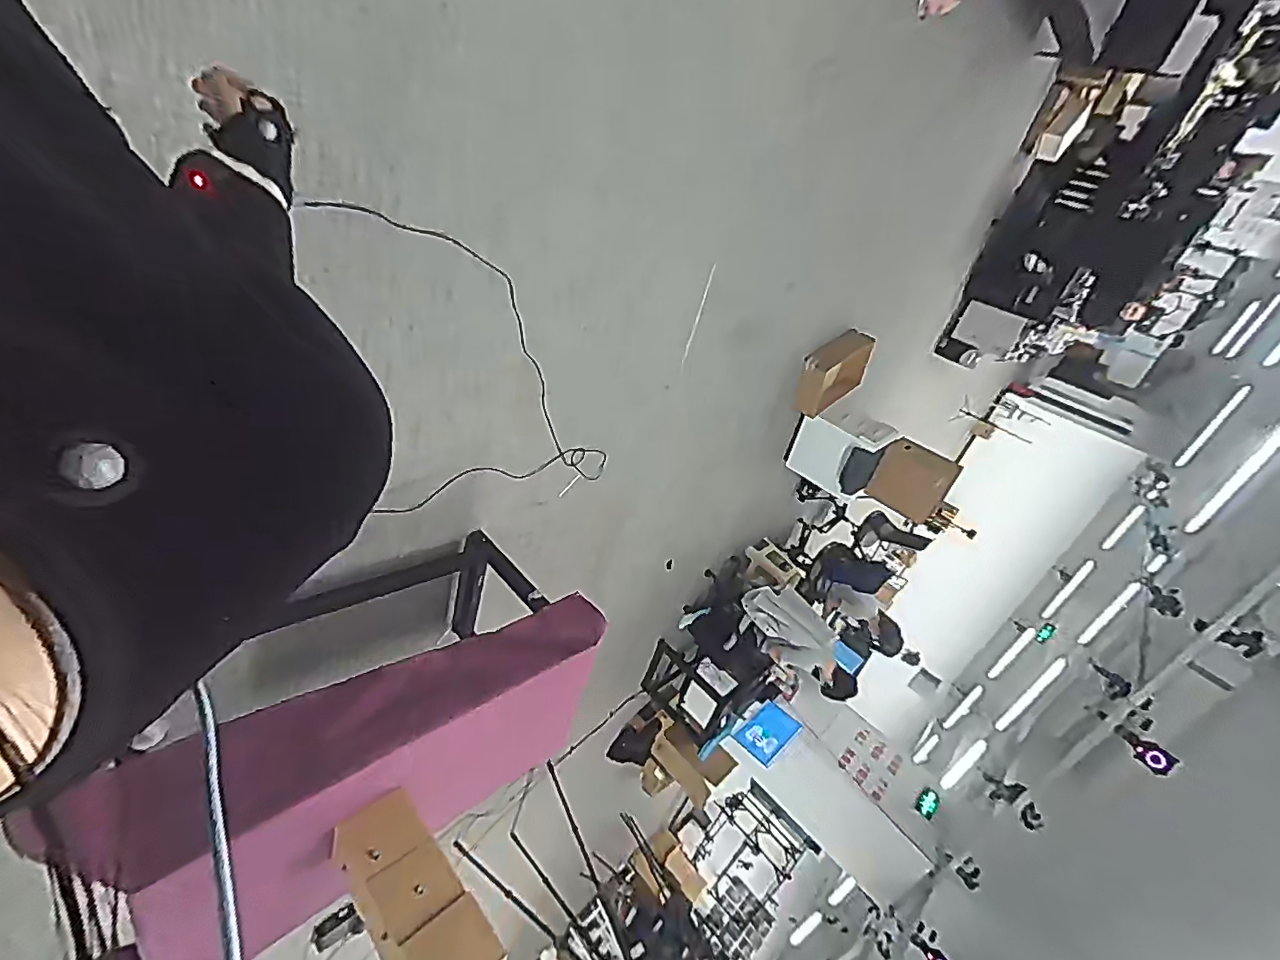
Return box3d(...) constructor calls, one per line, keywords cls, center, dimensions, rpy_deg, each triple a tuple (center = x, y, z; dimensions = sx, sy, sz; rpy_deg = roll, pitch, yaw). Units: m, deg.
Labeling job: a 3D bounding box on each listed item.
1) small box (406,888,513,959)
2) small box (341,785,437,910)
box3d(cls="small box", center=(-0.427, 1.115, 1.256), dimensions=(0.179, 0.176, 0.168), rpy_deg=(-14, 133, -47))
box3d(cls="small box", center=(-0.663, 0.957, 1.420), dimensions=(0.179, 0.176, 0.168), rpy_deg=(-13, 132, -47))
